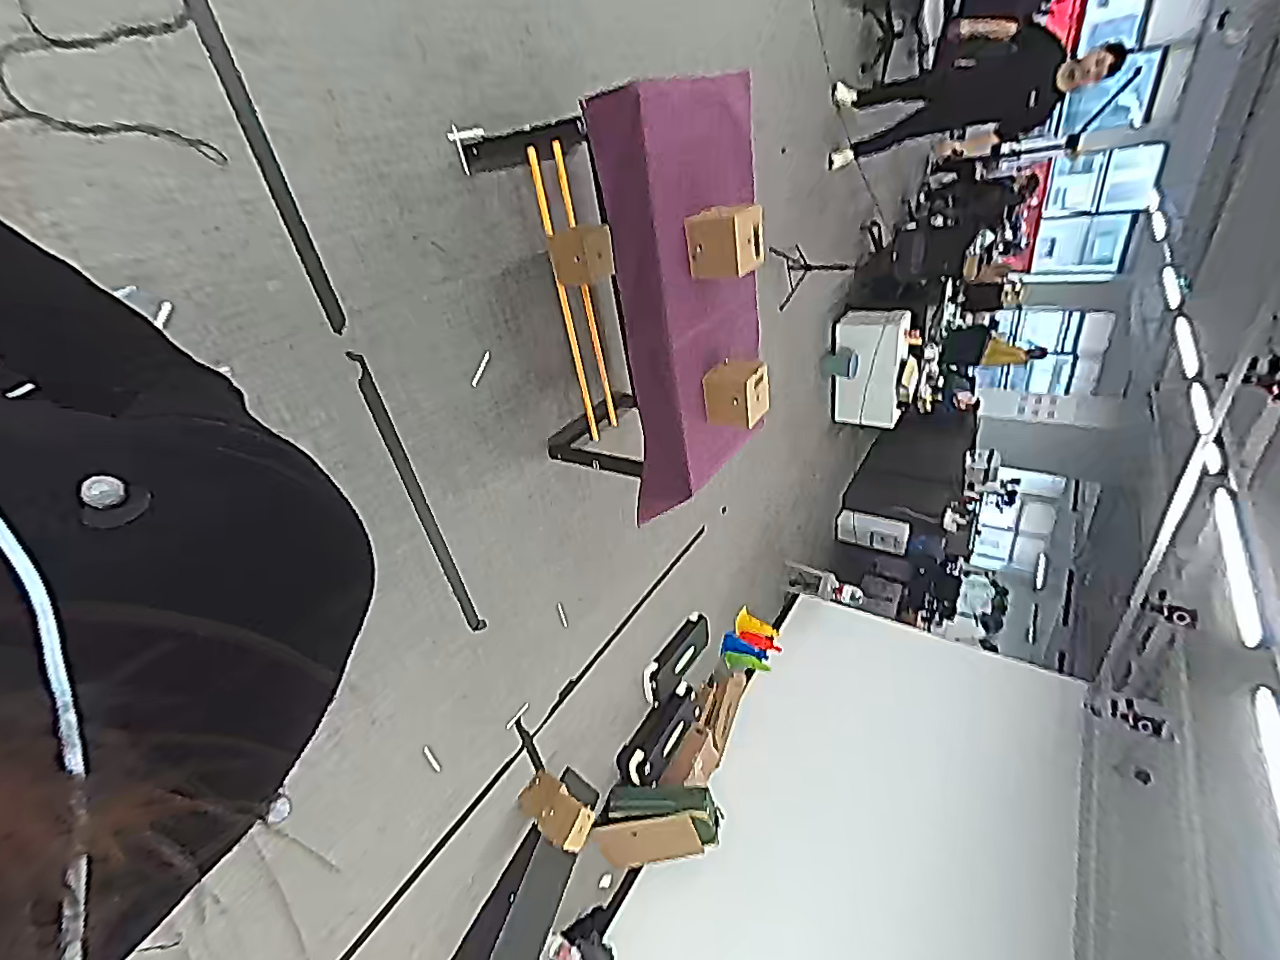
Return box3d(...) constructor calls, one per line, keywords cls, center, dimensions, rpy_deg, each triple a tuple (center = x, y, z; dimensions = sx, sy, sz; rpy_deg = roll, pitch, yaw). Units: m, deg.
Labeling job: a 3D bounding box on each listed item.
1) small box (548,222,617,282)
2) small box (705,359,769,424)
box3d(cls="small box", center=(-0.213, -0.848, 2.010), dimensions=(0.168, 0.176, 0.179), rpy_deg=(-44, 135, -39))
box3d(cls="small box", center=(0.337, -0.313, 1.879), dimensions=(0.168, 0.176, 0.179), rpy_deg=(-43, 134, -40))
